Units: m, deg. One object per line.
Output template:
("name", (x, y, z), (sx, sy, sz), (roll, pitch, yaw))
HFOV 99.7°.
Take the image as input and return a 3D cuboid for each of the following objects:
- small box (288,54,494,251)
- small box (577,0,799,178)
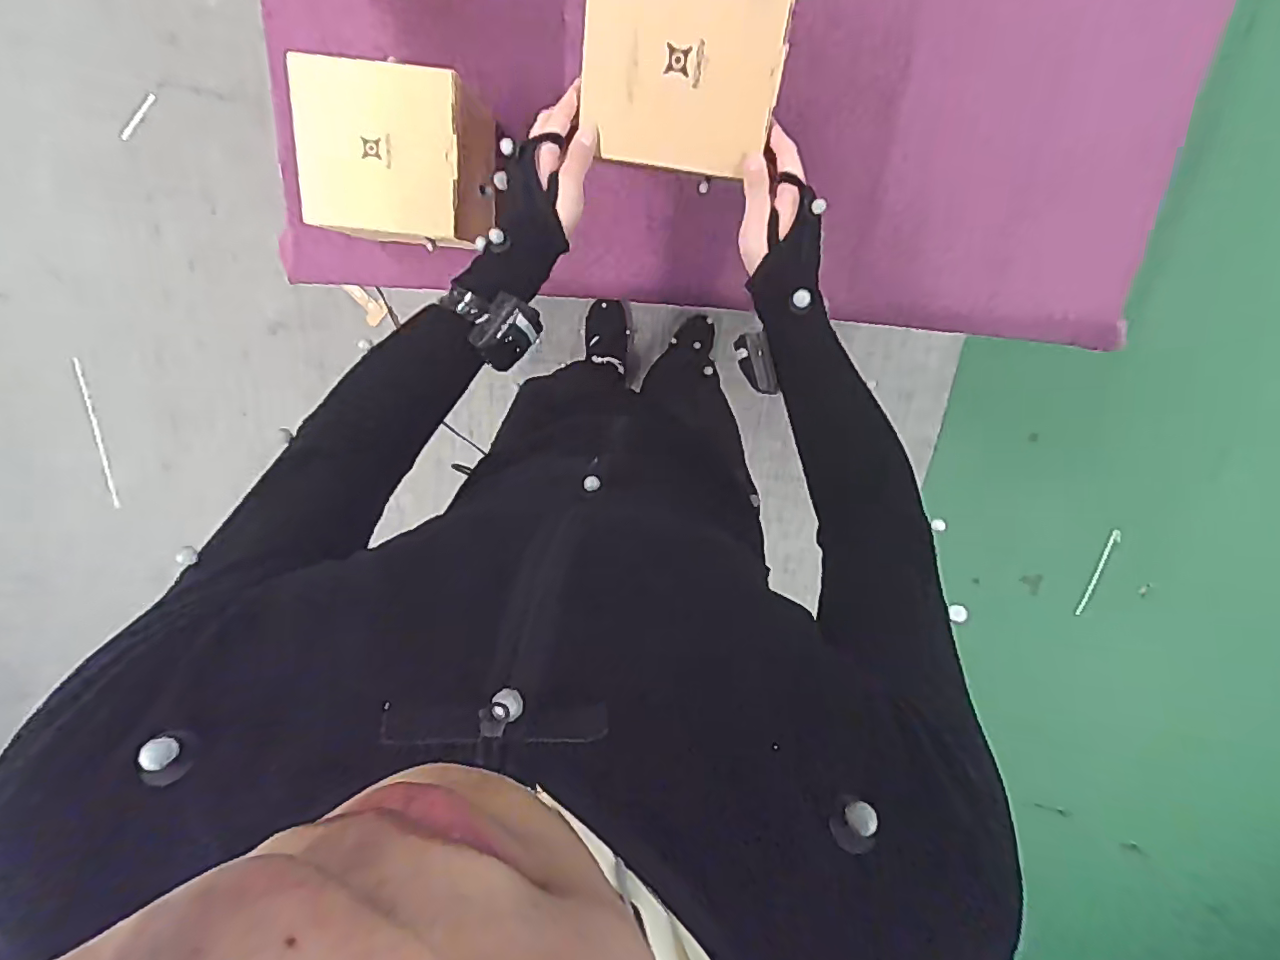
("small box", (-0.289, -0.383, 0.663), (0.179, 0.176, 0.168), (5, 108, -3))
("small box", (0.041, -0.406, 0.537), (0.179, 0.176, 0.168), (8, 117, -2))
